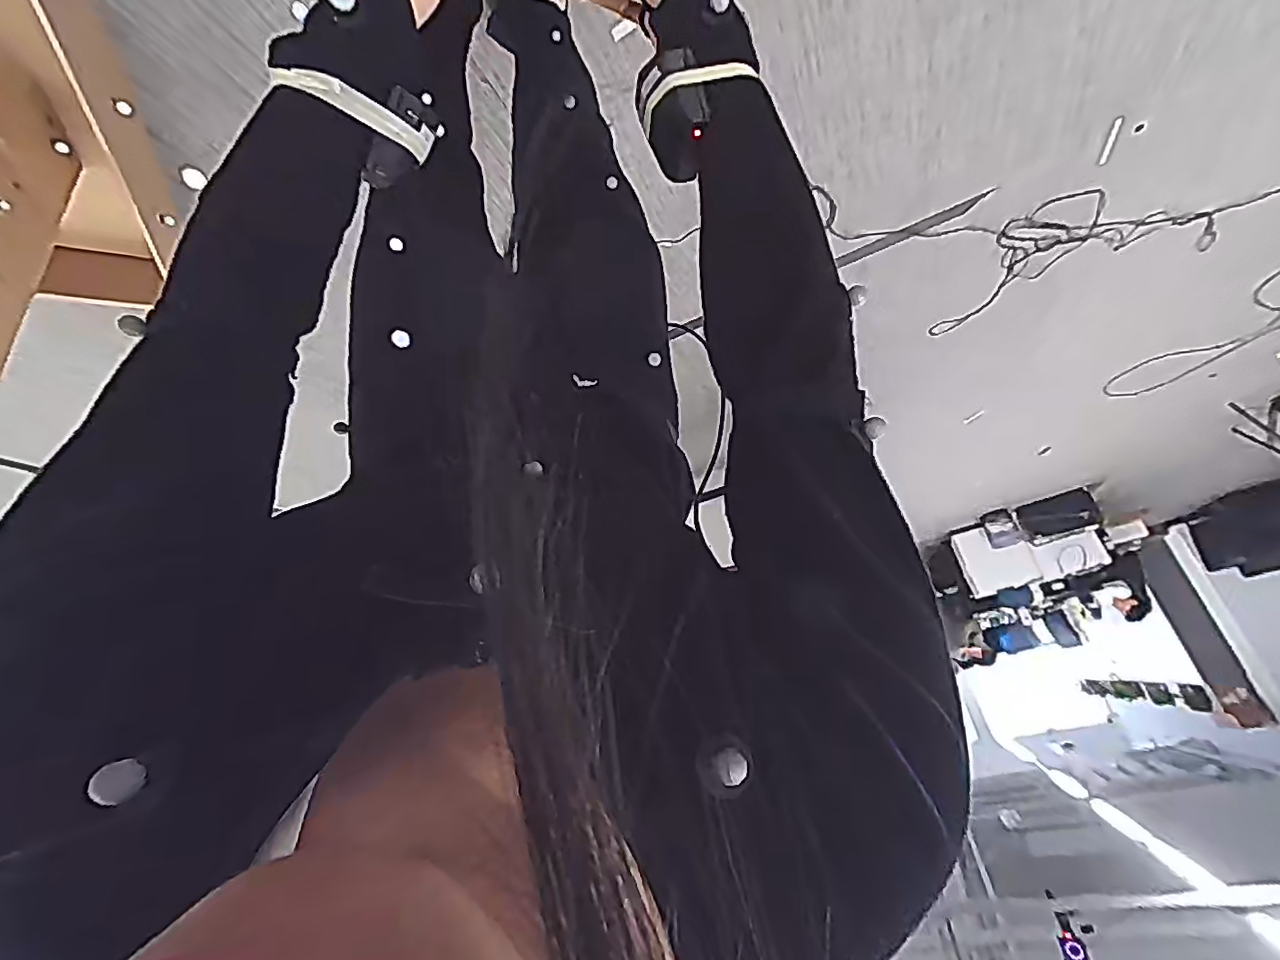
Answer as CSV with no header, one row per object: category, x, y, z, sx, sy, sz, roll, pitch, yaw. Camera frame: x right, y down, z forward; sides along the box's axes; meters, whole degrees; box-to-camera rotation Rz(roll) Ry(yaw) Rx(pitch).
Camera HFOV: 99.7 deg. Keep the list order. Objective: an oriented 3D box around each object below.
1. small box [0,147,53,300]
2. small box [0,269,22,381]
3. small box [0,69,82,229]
small box,-1.036,-0.395,0.801,0.179,0.176,0.168,-1,152,-19
small box,-1.003,-0.250,0.728,0.179,0.176,0.168,-2,152,-19
small box,-1.060,-0.542,0.864,0.179,0.176,0.168,0,154,-24
